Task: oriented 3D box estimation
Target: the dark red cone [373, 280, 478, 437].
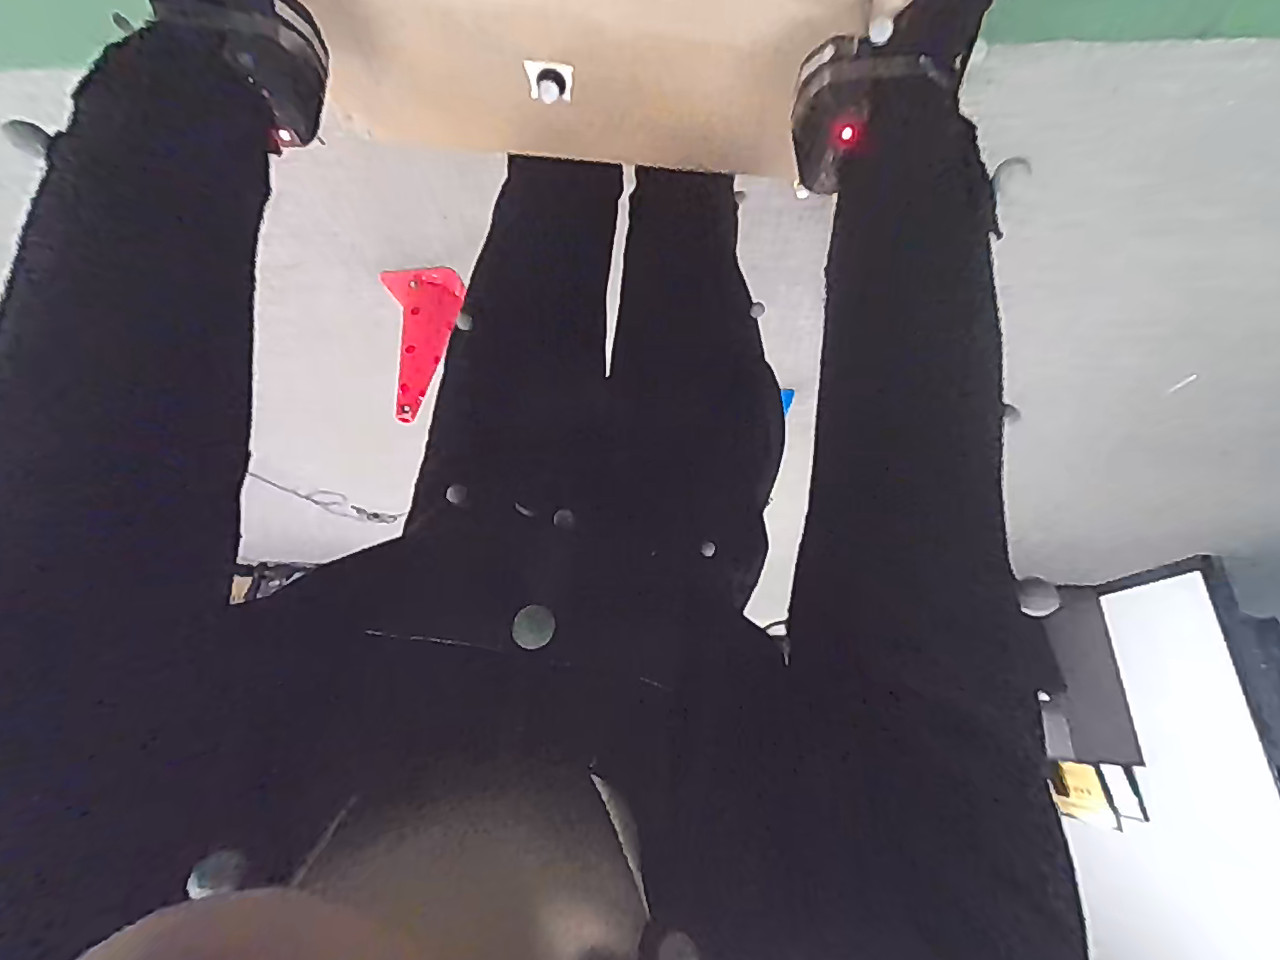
[{"bbox_3d":[-0.545,-0.278,1.286,0.202,0.394,0.201,-1,154,11],"label":"dark red cone"}]
